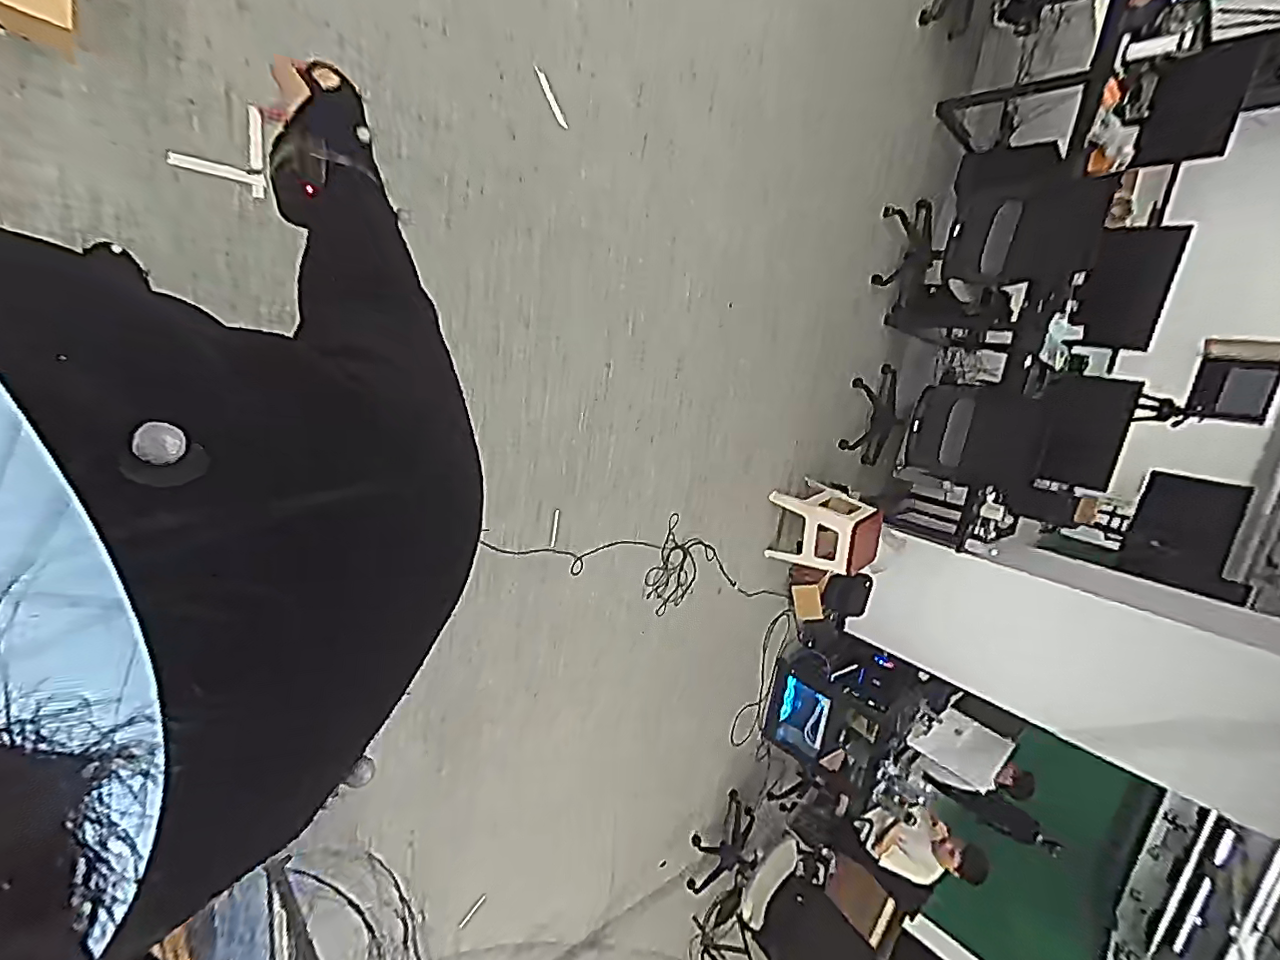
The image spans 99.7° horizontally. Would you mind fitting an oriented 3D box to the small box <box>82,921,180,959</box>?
[{"bbox_3d":[-1.078,1.103,1.141,0.168,0.176,0.179,-9,110,-42],"label":"small box"}]
